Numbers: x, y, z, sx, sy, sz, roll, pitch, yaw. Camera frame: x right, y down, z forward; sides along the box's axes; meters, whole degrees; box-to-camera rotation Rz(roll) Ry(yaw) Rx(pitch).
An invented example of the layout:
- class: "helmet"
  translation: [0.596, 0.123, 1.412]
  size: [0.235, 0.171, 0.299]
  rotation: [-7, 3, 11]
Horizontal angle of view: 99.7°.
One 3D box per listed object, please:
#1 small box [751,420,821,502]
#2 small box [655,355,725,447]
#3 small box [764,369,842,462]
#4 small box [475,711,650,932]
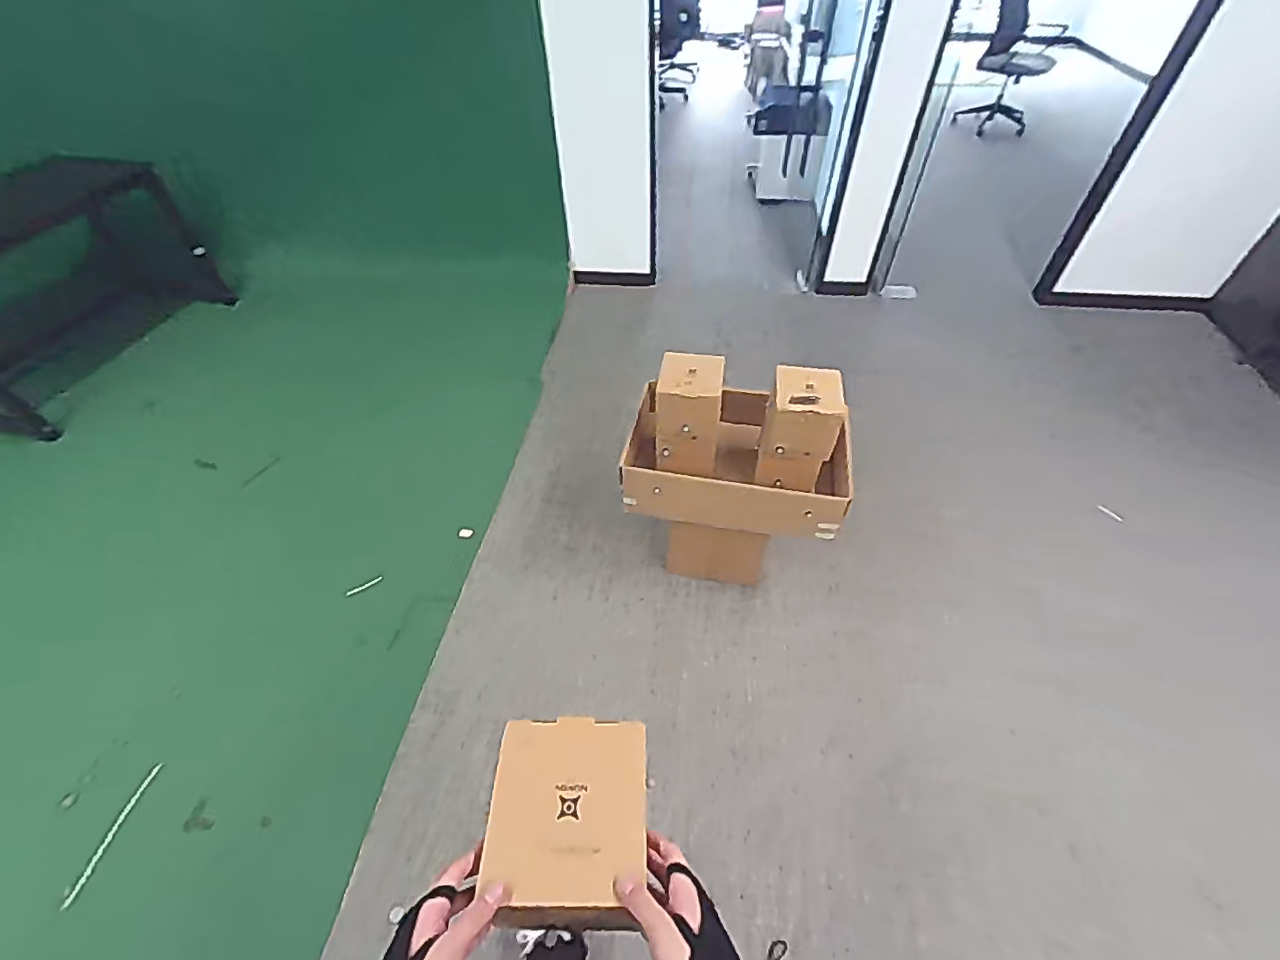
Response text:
- class: "small box"
  translation: [0.418, -0.065, 1.550]
  size: [0.168, 0.176, 0.179]
  rotation: [11, 50, 9]
- class: "small box"
  translation: [0.134, -0.215, 1.466]
  size: [0.168, 0.176, 0.179]
  rotation: [6, 49, 8]
- class: "small box"
  translation: [0.423, -0.167, 1.421]
  size: [0.168, 0.176, 0.179]
  rotation: [7, 49, 6]
- class: "small box"
  translation: [-0.077, 0.391, 0.622]
  size: [0.168, 0.176, 0.179]
  rotation: [3, 43, -1]
